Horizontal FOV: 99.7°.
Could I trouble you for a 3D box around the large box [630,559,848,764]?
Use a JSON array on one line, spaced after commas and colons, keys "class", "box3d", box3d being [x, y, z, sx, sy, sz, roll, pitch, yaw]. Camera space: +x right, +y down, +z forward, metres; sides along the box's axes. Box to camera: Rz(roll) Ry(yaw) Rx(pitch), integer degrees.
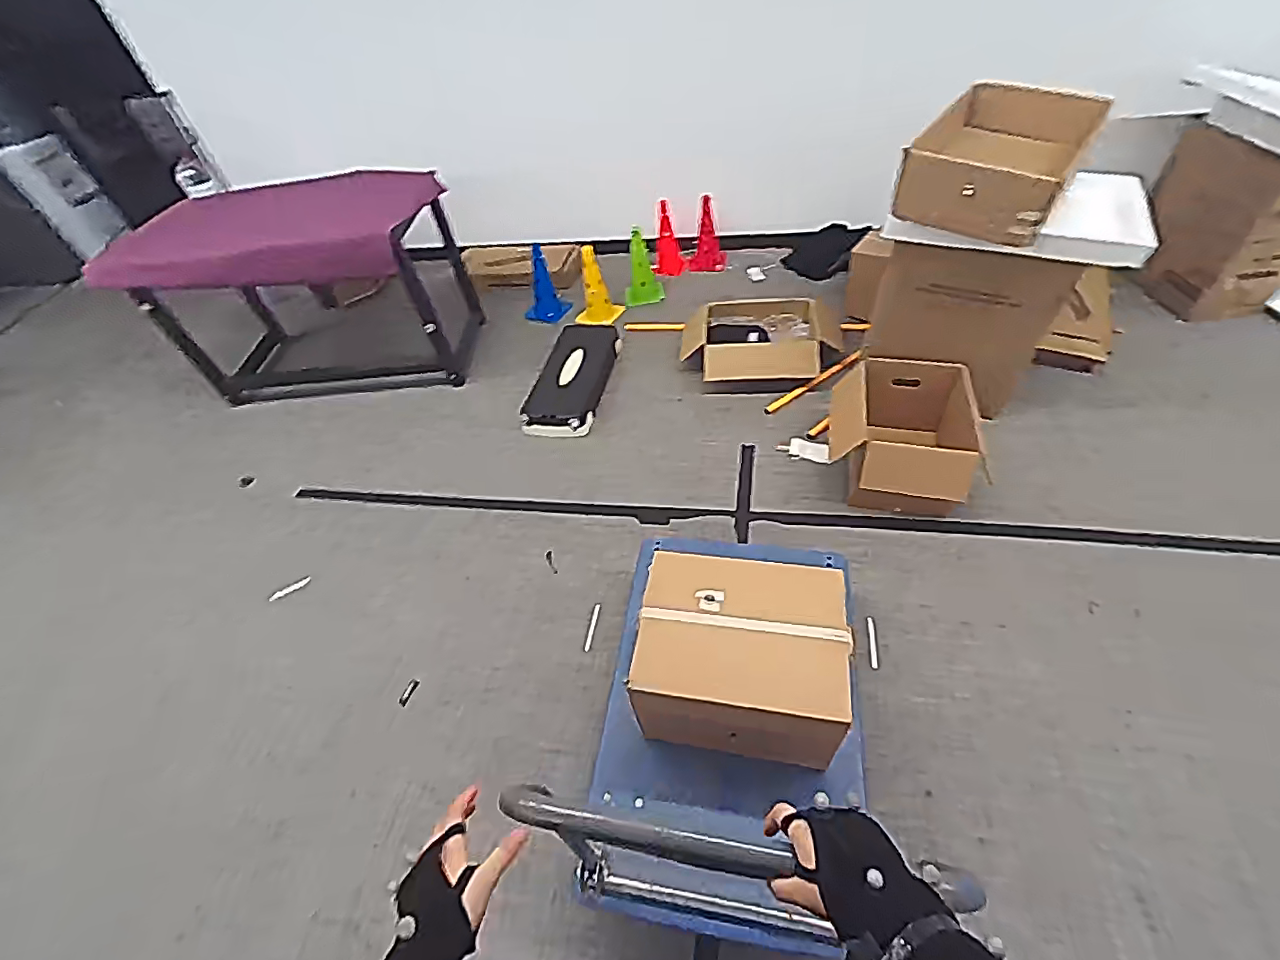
[{"class": "large box", "box3d": [0.220, 0.399, 1.194, 0.408, 0.320, 0.320, 3, 48, 13]}]
